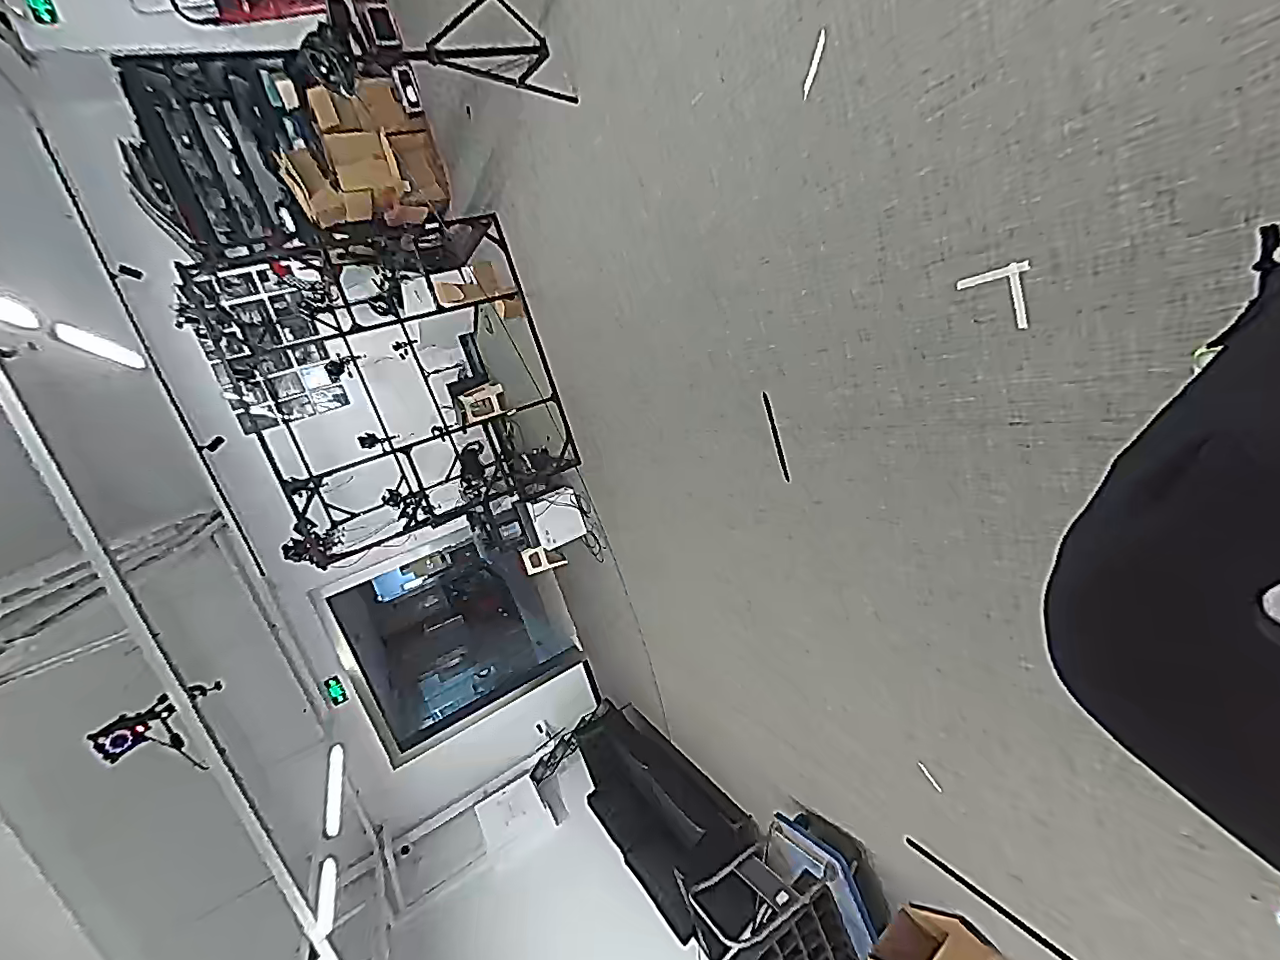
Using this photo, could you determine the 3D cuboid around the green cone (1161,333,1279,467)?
[{"bbox_3d":[1.020,-0.109,0.935,0.202,0.368,0.200,12,122,63],"label":"green cone"}]
